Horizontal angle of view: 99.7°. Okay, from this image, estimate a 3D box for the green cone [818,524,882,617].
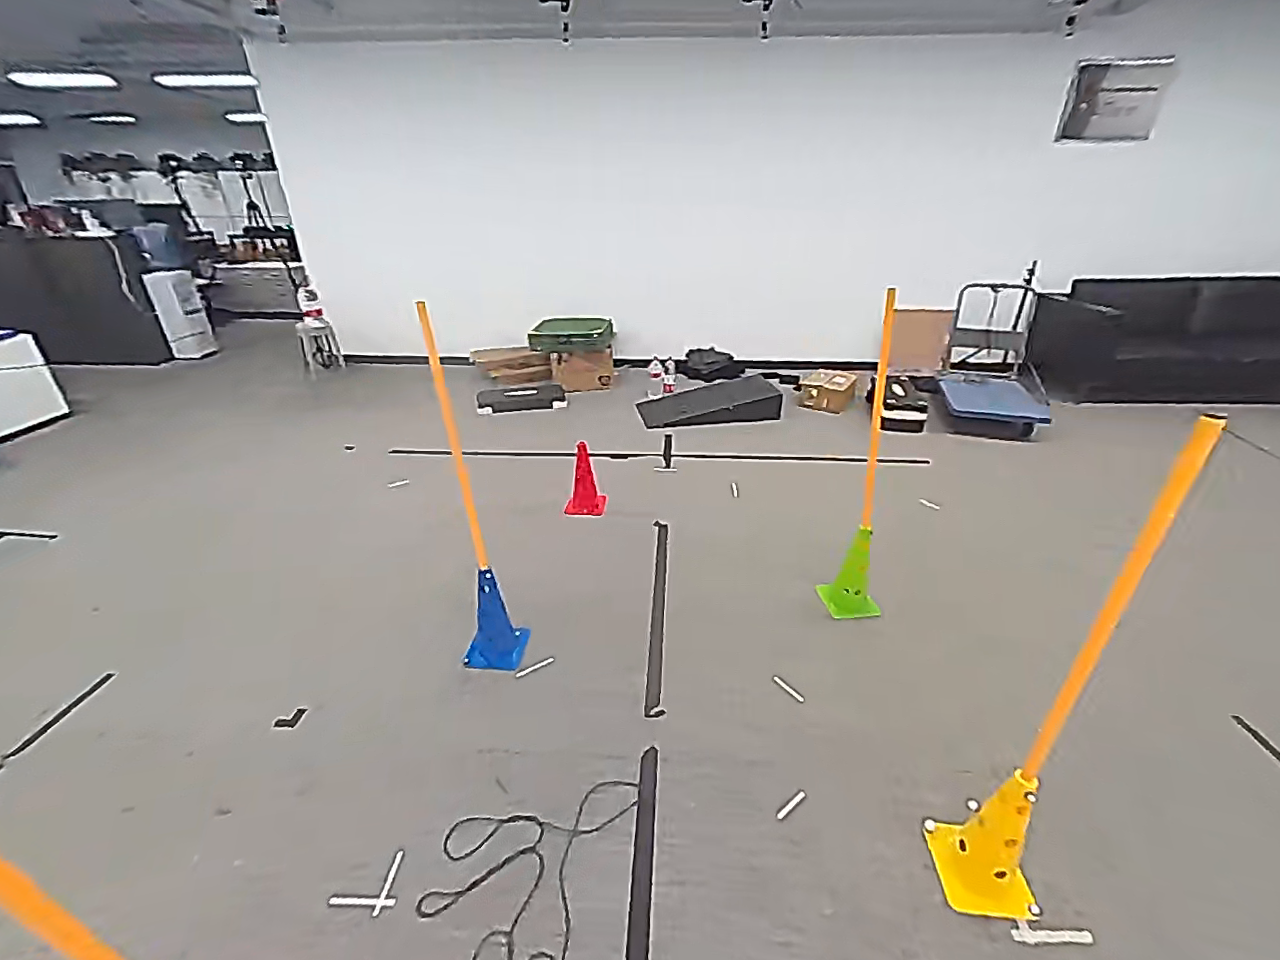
[{"bbox_3d":[0.835,0.326,2.083,0.200,0.368,0.202,-4,30,-6],"label":"green cone"}]

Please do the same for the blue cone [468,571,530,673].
[{"bbox_3d":[-0.504,0.465,1.861,0.193,0.380,0.192,2,28,6],"label":"blue cone"}]
